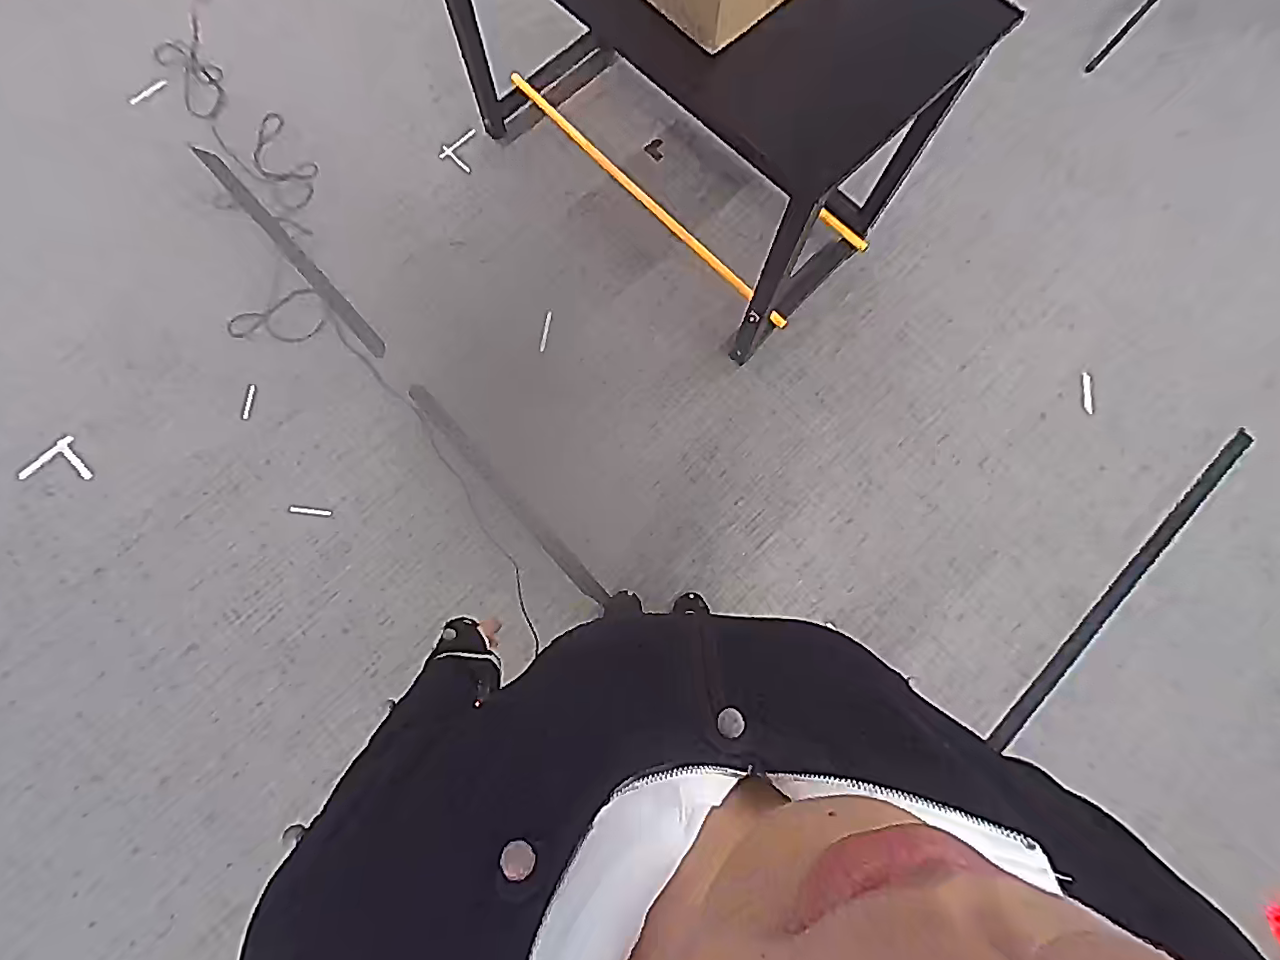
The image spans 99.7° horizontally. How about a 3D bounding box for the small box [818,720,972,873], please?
[{"bbox_3d":[0.472,0.584,1.031,0.179,0.176,0.168,36,78,7],"label":"small box"}]
